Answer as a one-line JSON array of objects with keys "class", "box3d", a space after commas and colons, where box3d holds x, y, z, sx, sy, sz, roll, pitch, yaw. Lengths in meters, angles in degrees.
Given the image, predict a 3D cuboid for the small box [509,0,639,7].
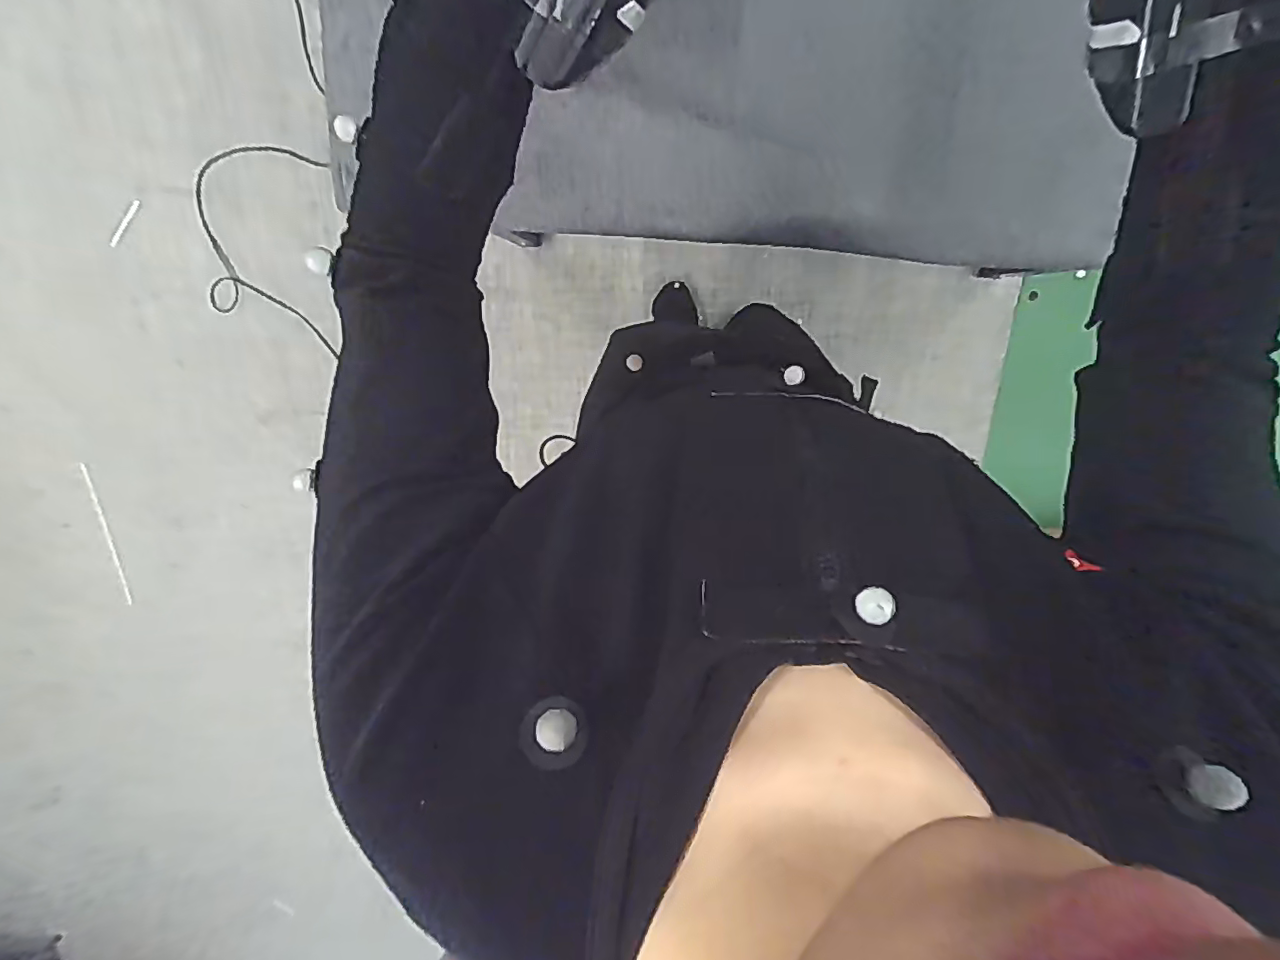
[{"class": "small box", "box3d": [-0.079, -0.557, 0.474, 0.168, 0.176, 0.179, 1, 107, 2]}]
